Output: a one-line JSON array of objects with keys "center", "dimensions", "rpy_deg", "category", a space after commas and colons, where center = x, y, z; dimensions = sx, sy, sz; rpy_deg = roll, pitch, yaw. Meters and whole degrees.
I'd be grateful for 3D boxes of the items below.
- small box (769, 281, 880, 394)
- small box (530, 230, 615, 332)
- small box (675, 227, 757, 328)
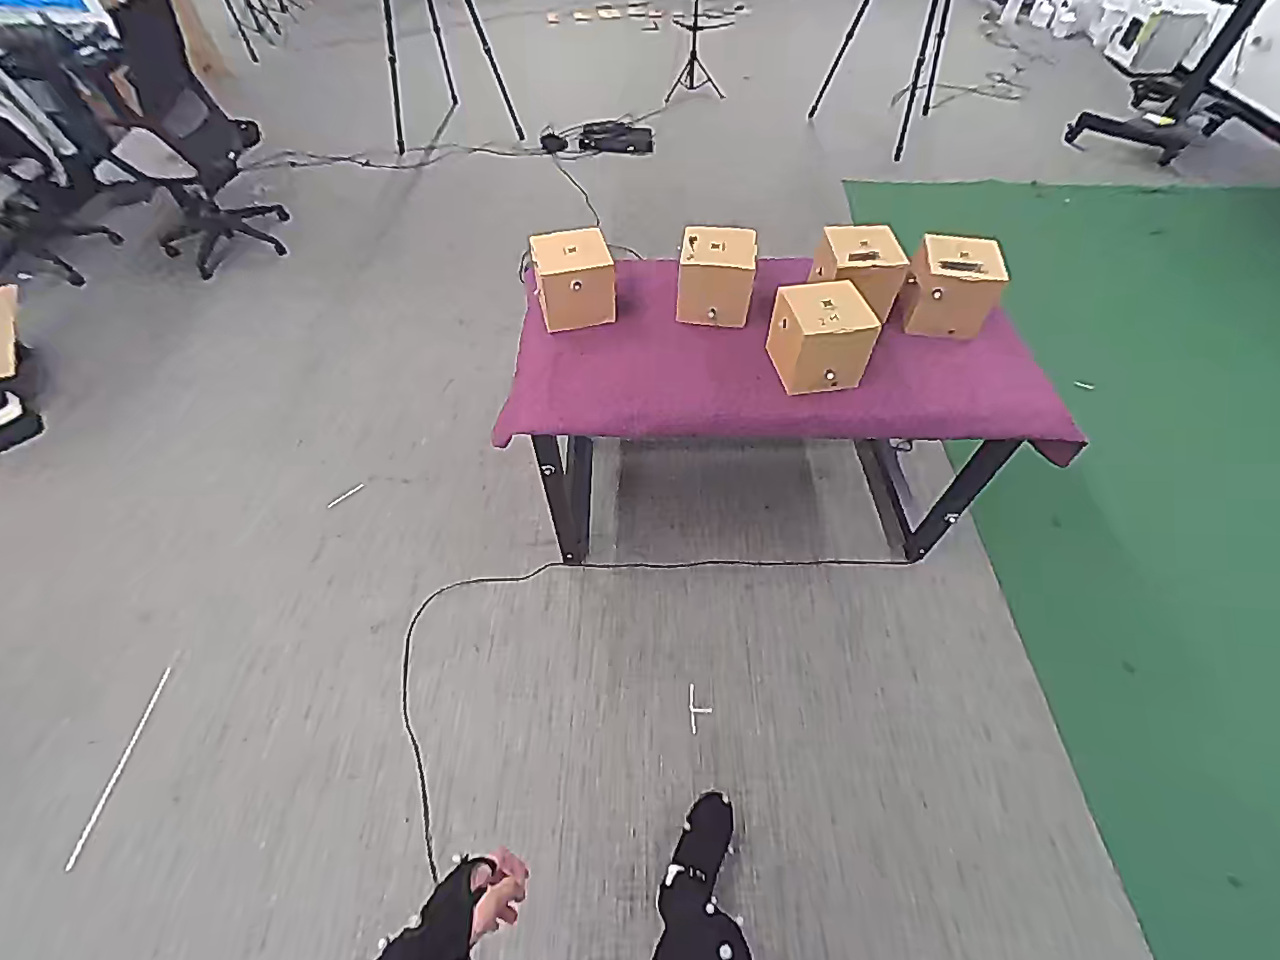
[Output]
[{"center": [0.397, -0.315, 1.203], "dimensions": [0.168, 0.176, 0.179], "rpy_deg": [-8, 53, -4], "category": "small box"}, {"center": [-0.164, -0.489, 1.339], "dimensions": [0.179, 0.176, 0.168], "rpy_deg": [-12, 56, -9], "category": "small box"}, {"center": [0.187, -0.499, 1.343], "dimensions": [0.179, 0.176, 0.168], "rpy_deg": [7, 54, 5], "category": "small box"}]
